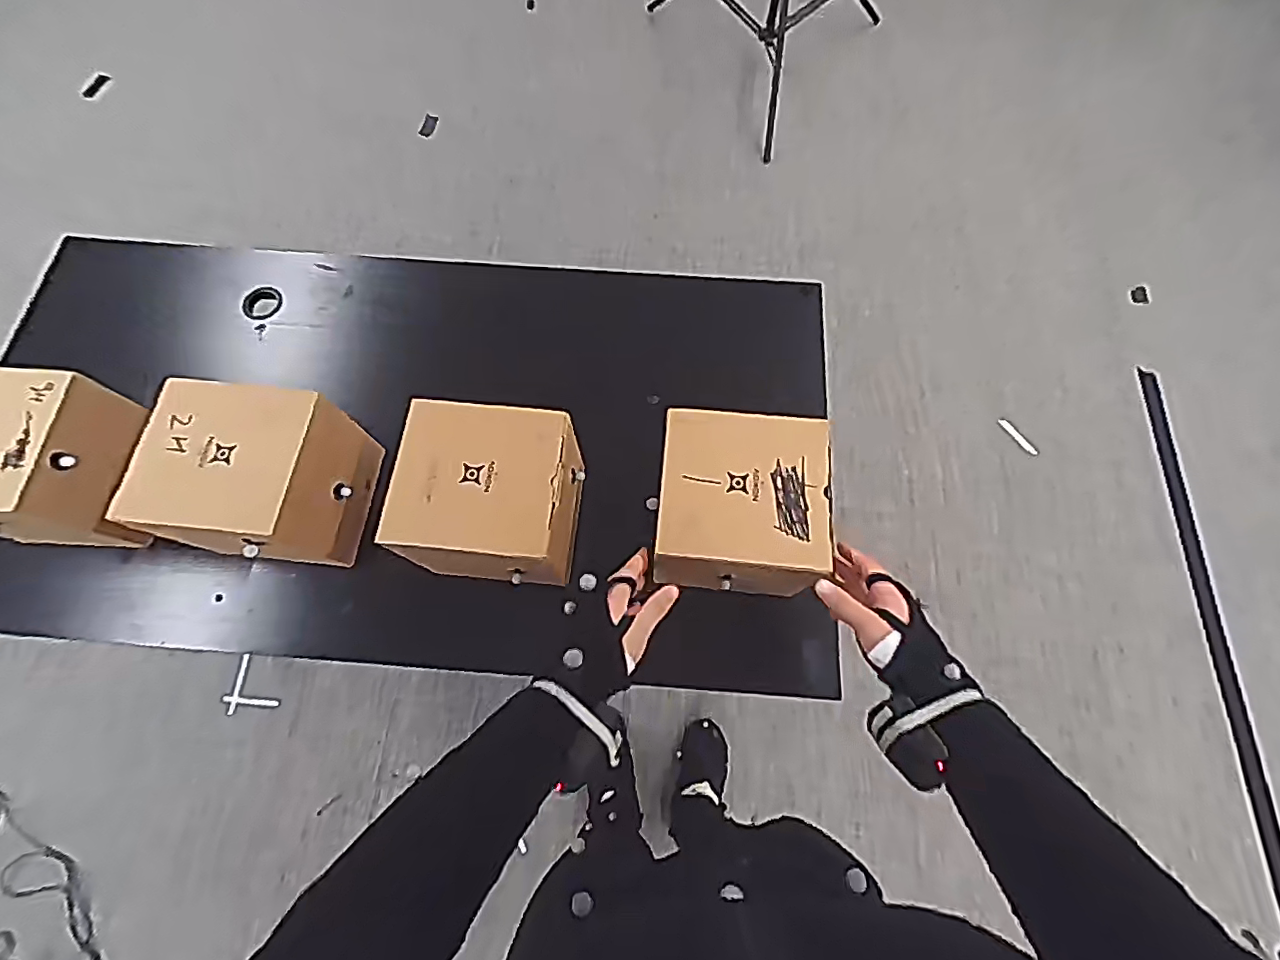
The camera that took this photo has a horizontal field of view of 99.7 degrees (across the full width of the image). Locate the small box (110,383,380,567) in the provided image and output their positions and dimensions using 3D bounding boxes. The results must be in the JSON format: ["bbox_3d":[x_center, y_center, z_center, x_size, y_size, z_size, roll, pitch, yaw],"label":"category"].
[{"bbox_3d":[-0.445,0.004,0.648,0.179,0.176,0.168,5,70,2],"label":"small box"}]

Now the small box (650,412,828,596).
[{"bbox_3d":[0.106,0.038,0.633,0.179,0.176,0.168,5,70,3],"label":"small box"}]

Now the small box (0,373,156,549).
[{"bbox_3d":[-0.717,-0.015,0.656,0.179,0.176,0.168,2,70,1],"label":"small box"}]

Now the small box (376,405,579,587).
[{"bbox_3d":[-0.172,0.028,0.642,0.179,0.176,0.168,4,69,2],"label":"small box"}]
